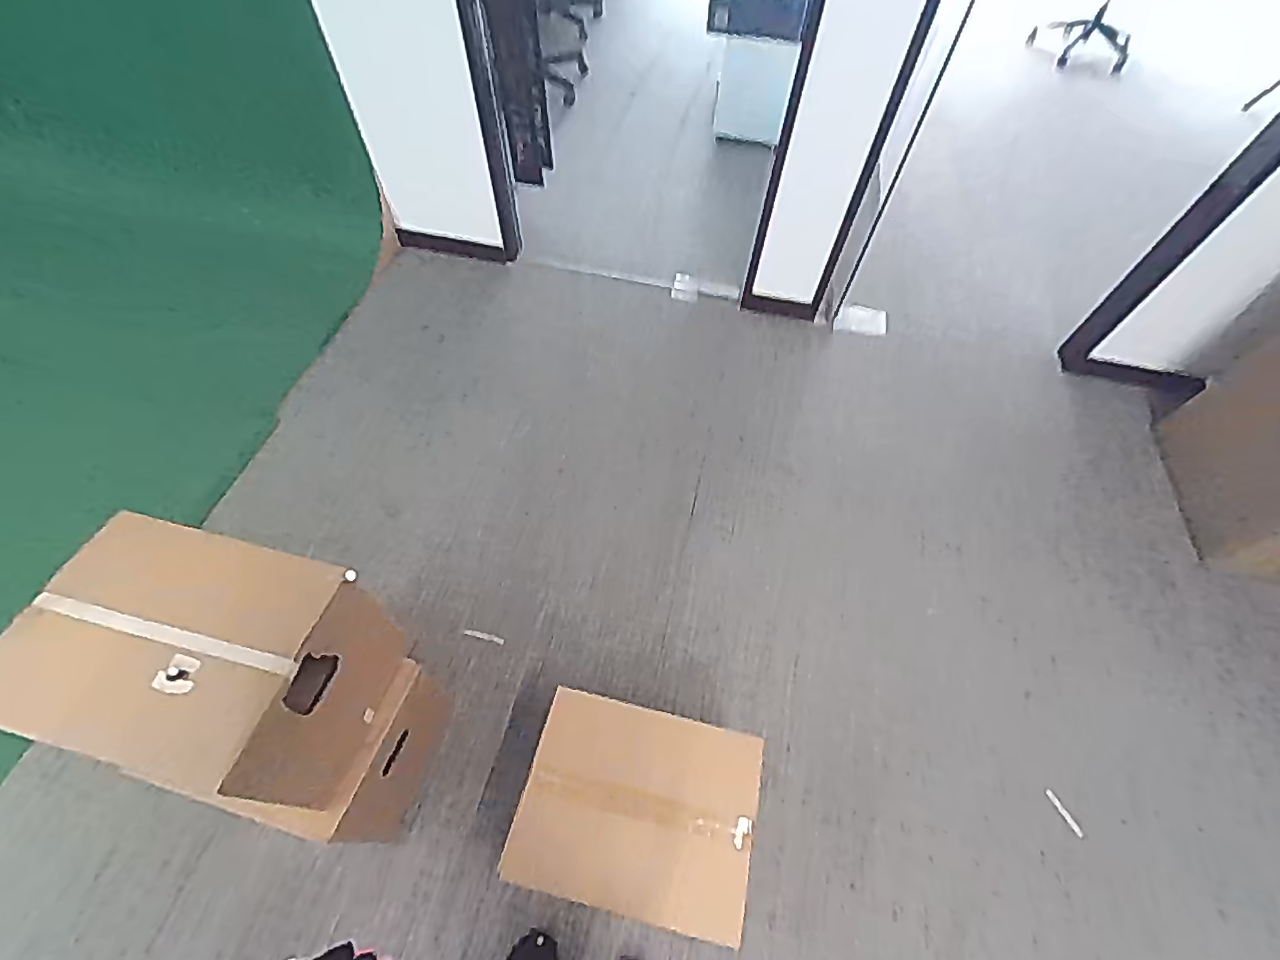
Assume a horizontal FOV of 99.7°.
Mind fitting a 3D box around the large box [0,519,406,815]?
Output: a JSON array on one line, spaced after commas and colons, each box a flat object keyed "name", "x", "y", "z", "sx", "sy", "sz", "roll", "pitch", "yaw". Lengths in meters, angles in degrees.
[{"name": "large box", "x": -0.677, "y": 0.310, "z": 0.885, "sx": 0.408, "sy": 0.320, "sz": 0.320, "roll": 14, "pitch": 54, "yaw": 5}]
